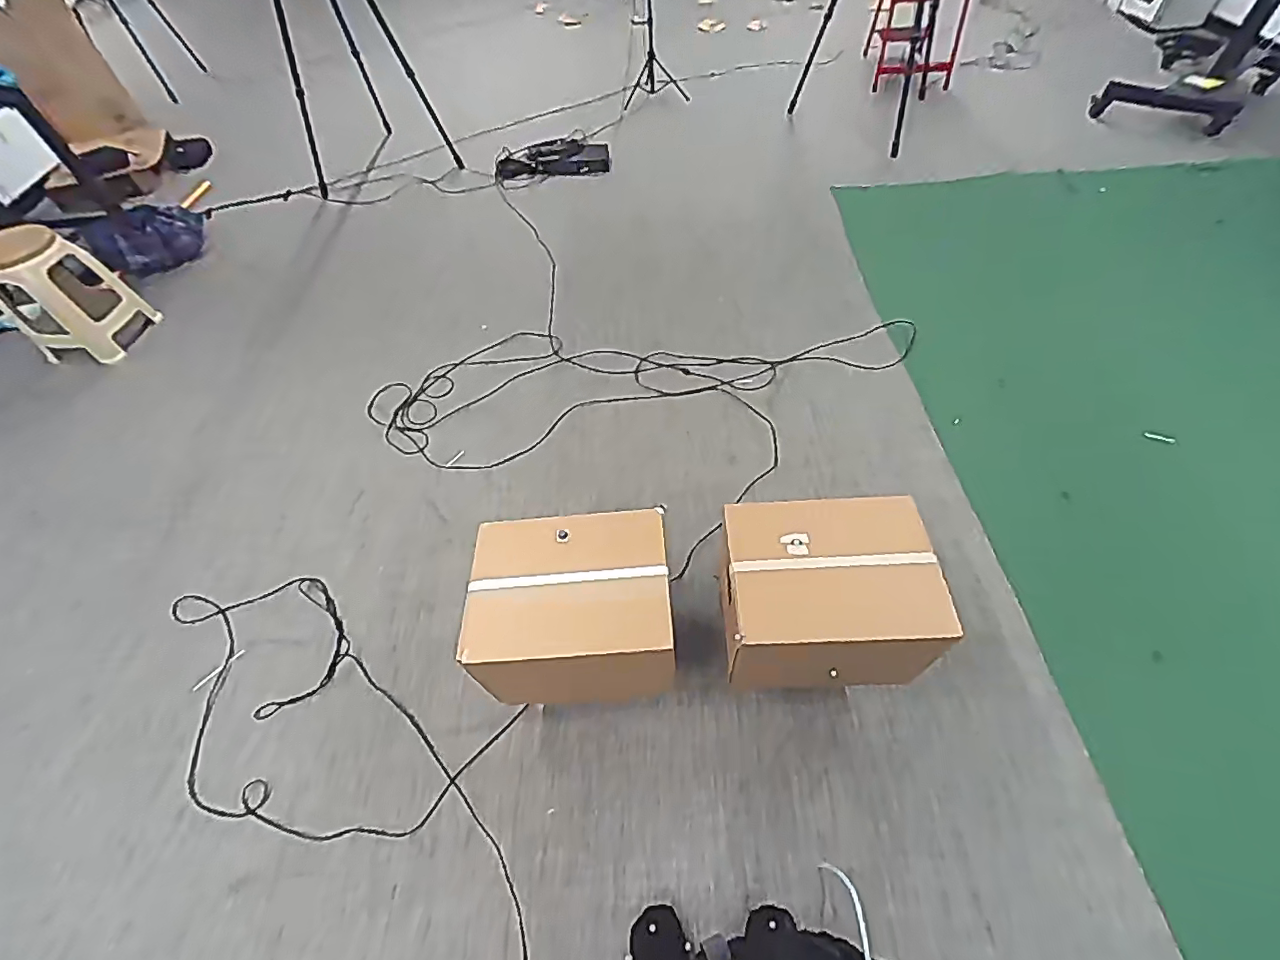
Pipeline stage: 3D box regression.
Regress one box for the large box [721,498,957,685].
[{"bbox_3d":[0.402,0.261,1.215,0.408,0.320,0.320,-3,54,3],"label":"large box"}]
